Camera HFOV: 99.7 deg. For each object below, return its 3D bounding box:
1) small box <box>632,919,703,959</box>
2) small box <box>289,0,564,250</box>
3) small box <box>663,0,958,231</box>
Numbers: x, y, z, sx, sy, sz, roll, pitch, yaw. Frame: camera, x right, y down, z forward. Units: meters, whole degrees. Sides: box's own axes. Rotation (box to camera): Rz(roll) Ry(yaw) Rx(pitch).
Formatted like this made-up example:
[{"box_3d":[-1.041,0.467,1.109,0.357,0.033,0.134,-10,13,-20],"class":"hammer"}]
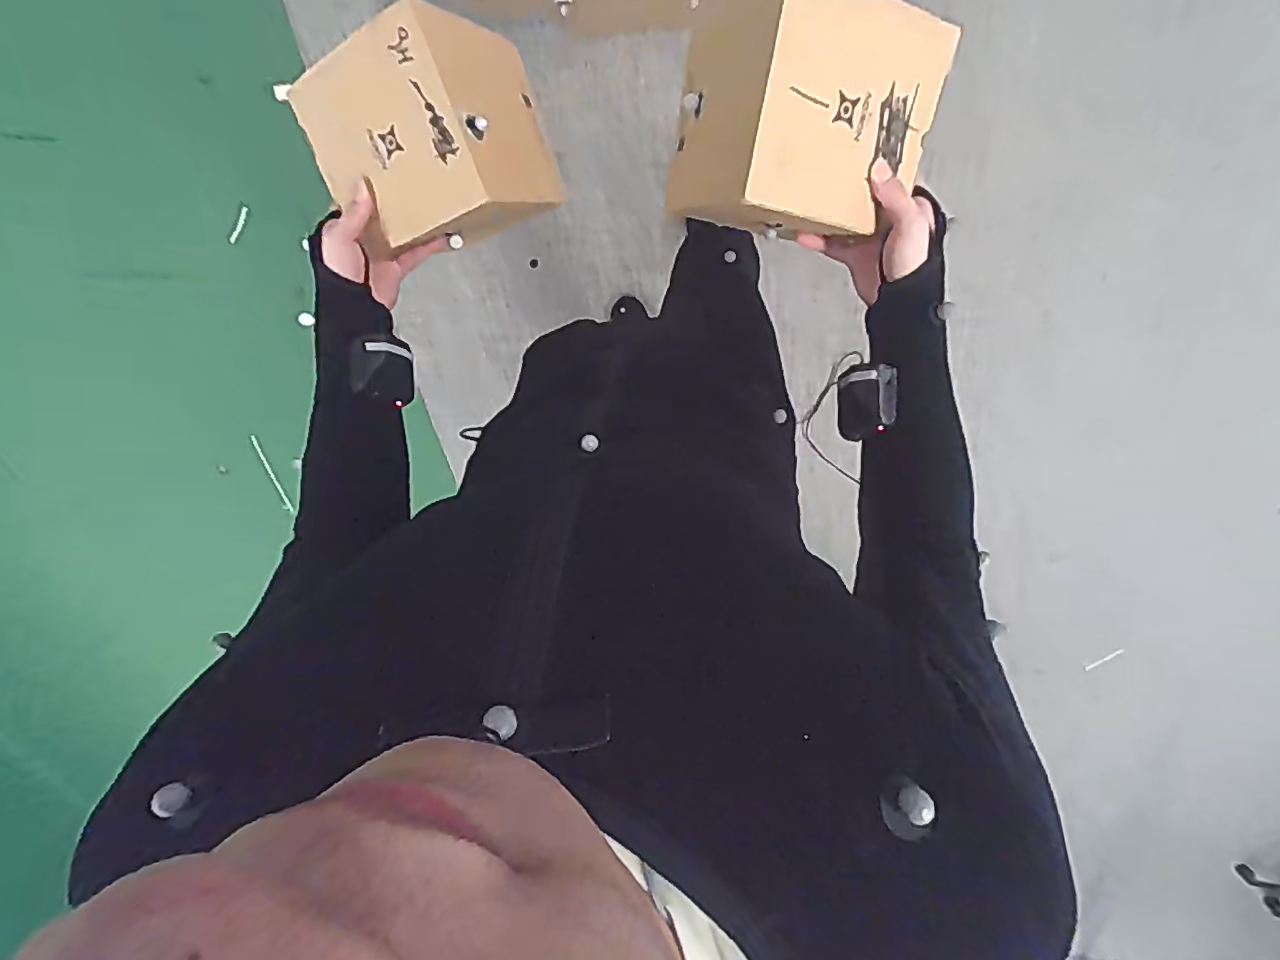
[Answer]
[{"box_3d":[0.069,1.219,1.331,0.168,0.176,0.179,-2,120,9],"class":"small box"},{"box_3d":[-0.213,-0.360,0.577,0.179,0.176,0.168,-9,111,26],"class":"small box"},{"box_3d":[0.143,-0.339,0.509,0.179,0.176,0.168,1,111,-22],"class":"small box"}]
